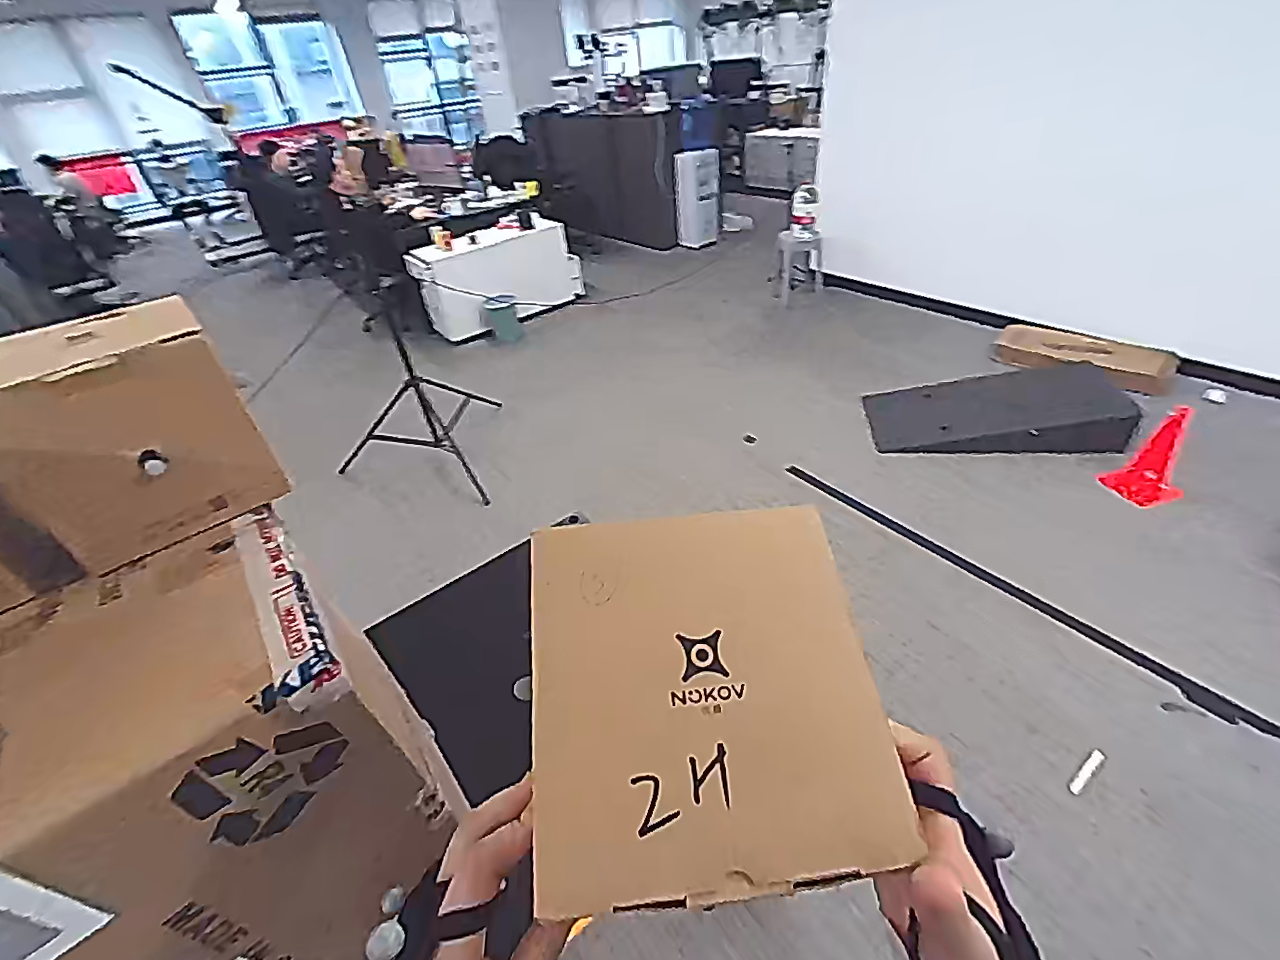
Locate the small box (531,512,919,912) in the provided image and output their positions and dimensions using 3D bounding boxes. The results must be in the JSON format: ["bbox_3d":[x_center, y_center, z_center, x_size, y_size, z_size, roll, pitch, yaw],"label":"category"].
[{"bbox_3d":[0.028,0.139,0.334,0.168,0.176,0.179,-5,58,-3],"label":"small box"}]
